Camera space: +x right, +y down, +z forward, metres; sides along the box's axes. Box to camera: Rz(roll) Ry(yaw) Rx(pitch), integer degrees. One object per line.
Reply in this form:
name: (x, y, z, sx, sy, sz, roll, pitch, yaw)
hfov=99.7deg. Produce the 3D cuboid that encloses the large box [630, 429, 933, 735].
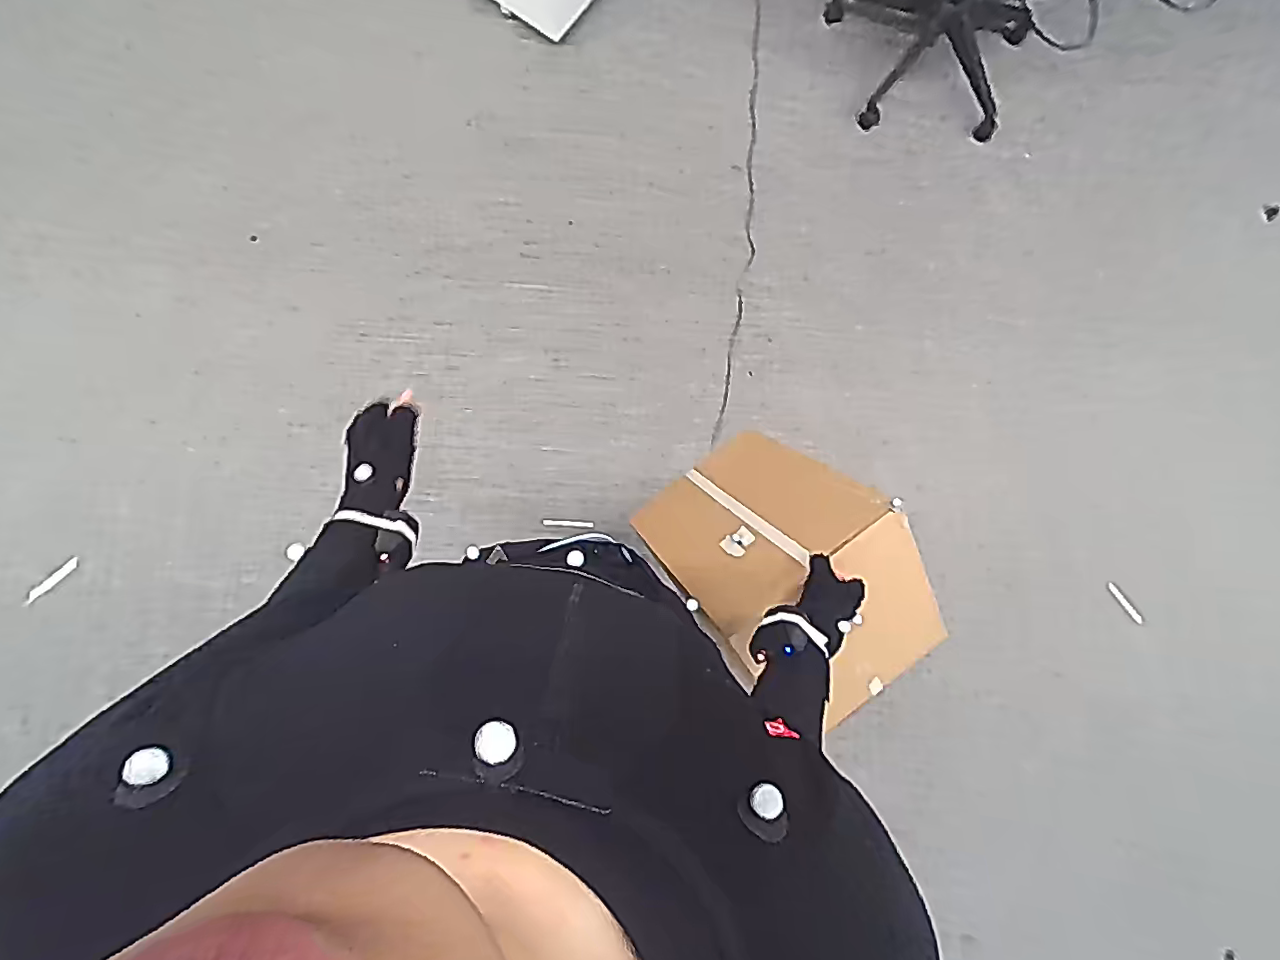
large box: (0.242, 0.160, 0.998, 0.320, 0.408, 0.320, -37, 120, -5)
